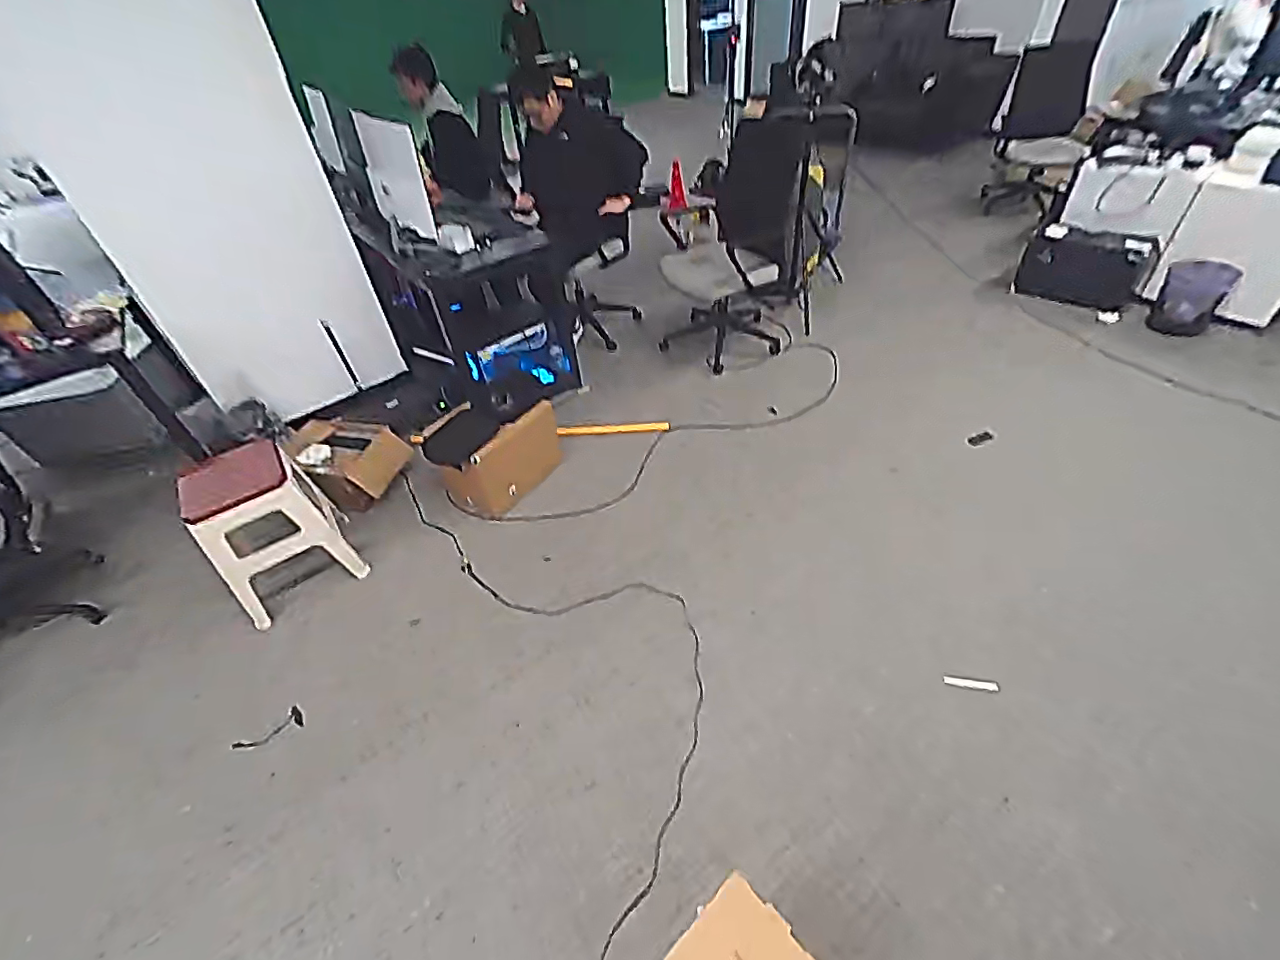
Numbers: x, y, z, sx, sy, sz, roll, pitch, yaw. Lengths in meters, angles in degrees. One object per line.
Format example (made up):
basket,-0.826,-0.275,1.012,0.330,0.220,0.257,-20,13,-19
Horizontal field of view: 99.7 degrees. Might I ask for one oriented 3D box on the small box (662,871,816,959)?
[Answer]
small box,0.145,0.748,0.815,0.179,0.176,0.168,-34,49,-28
